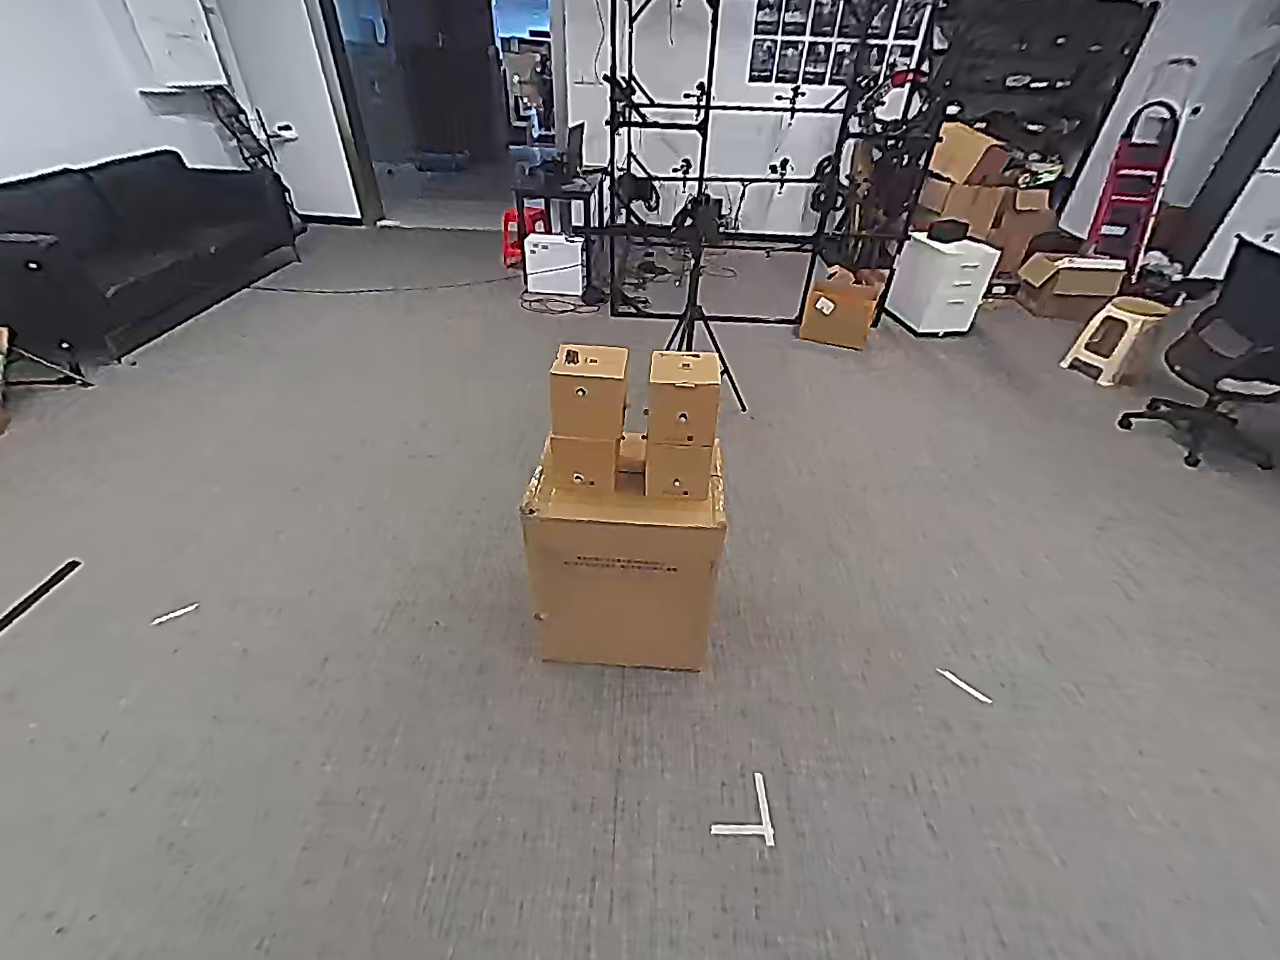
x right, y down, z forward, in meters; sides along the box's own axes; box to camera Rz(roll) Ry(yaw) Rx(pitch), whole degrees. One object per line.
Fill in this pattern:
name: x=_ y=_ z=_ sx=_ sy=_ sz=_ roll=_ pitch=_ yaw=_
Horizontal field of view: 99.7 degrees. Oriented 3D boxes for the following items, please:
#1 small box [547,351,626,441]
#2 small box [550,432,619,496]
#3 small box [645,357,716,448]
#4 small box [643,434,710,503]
small box: x=-0.129 y=-0.212 z=1.364 sx=0.179 sy=0.176 sz=0.168 roll=4 pitch=38 yaw=1
small box: x=-0.144 y=-0.078 z=1.459 sx=0.168 sy=0.176 sz=0.179 roll=2 pitch=38 yaw=1
small box: x=0.100 y=-0.192 z=1.346 sx=0.168 sy=0.176 sz=0.179 roll=2 pitch=38 yaw=3
small box: x=0.094 y=-0.060 z=1.443 sx=0.168 sy=0.176 sz=0.179 roll=2 pitch=38 yaw=2
